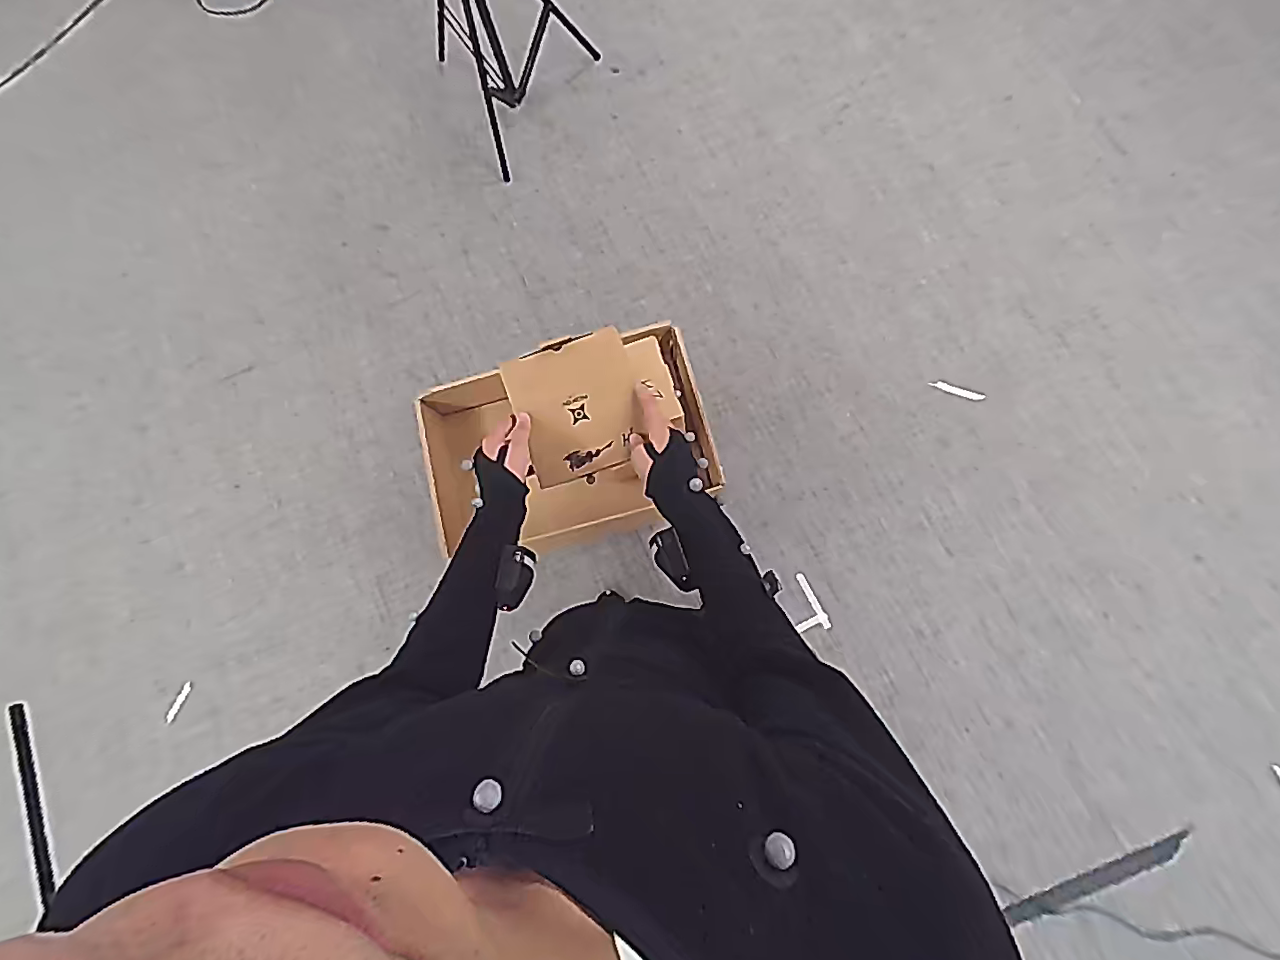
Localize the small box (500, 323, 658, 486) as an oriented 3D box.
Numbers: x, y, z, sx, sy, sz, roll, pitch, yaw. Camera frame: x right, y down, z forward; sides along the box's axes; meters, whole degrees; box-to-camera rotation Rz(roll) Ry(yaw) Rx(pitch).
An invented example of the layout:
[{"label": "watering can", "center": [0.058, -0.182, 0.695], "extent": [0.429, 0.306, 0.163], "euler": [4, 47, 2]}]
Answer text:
[{"label": "small box", "center": [-0.077, -0.098, 0.778], "extent": [0.168, 0.176, 0.179], "euler": [-18, 91, 4]}]

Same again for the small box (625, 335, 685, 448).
[{"label": "small box", "center": [-0.019, -0.146, 1.041], "extent": [0.179, 0.176, 0.168], "euler": [-19, 78, 2]}]
